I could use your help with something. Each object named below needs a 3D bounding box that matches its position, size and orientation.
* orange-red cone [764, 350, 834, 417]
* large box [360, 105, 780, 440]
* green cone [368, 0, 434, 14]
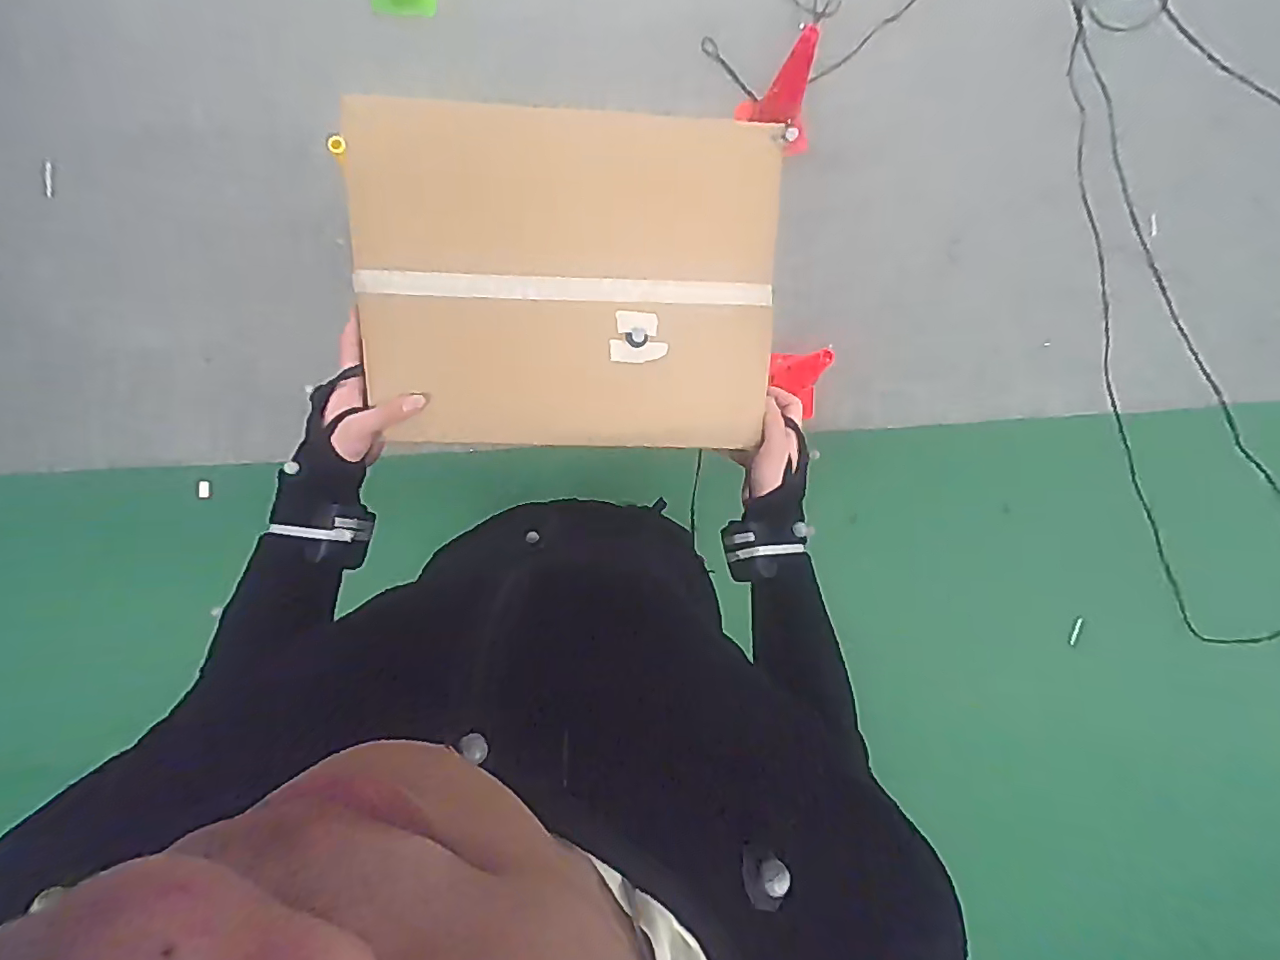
[{"bbox_3d":[0.454,-0.303,1.515,0.199,0.360,0.198,4,88,-4],"label":"orange-red cone"},{"bbox_3d":[-0.076,-0.225,0.686,0.408,0.320,0.320,0,103,-5],"label":"large box"},{"bbox_3d":[-0.730,-1.555,1.506,0.200,0.368,0.202,3,89,-2],"label":"green cone"}]
